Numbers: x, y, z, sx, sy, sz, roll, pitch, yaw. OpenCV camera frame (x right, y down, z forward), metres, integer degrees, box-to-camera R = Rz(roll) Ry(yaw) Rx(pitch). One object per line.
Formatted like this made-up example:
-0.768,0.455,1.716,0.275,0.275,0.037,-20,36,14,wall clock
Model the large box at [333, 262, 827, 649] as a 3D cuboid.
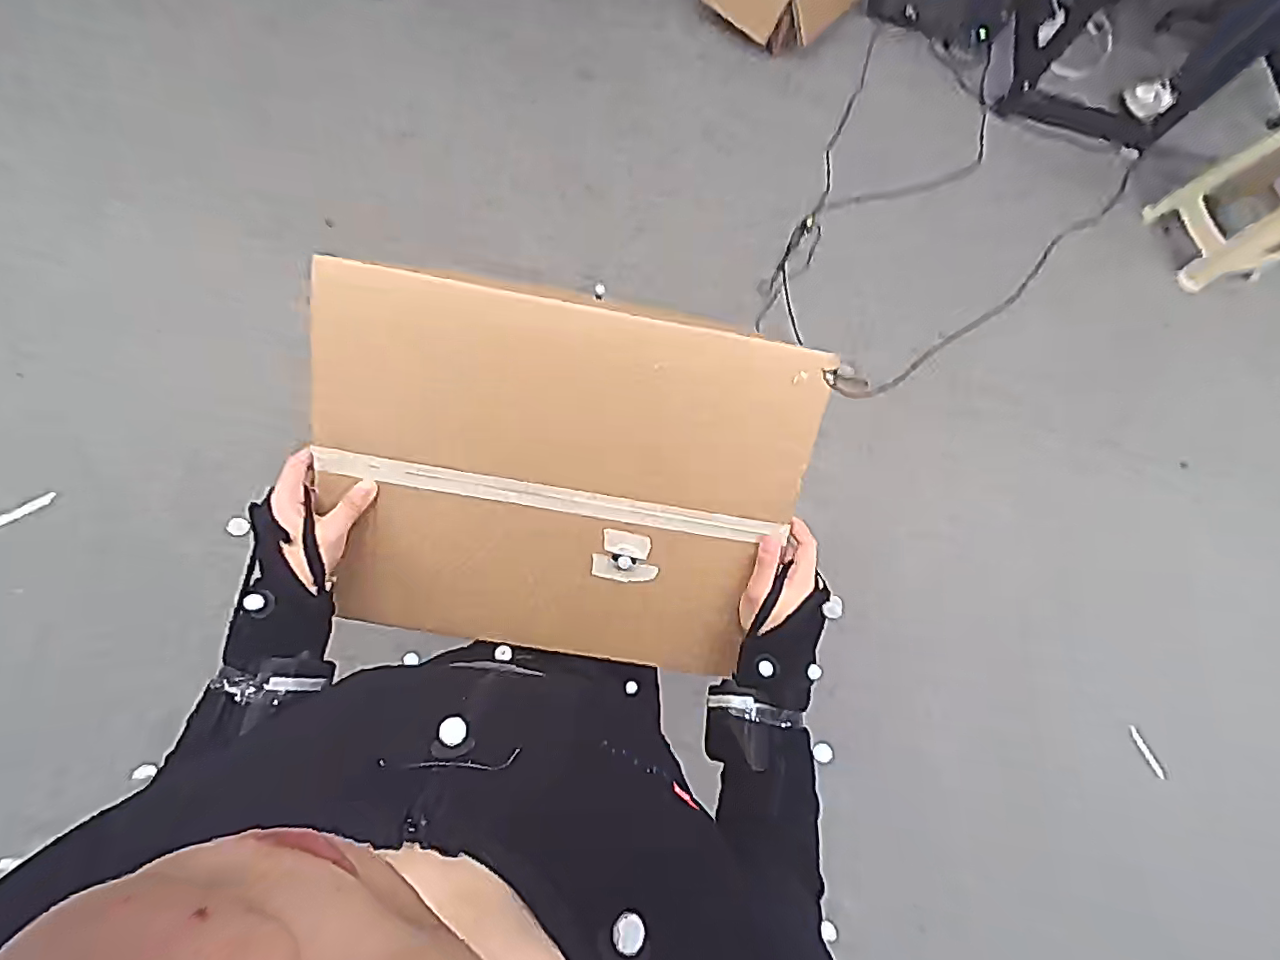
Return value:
-0.069,-0.048,0.617,0.408,0.320,0.320,9,110,-5,large box
